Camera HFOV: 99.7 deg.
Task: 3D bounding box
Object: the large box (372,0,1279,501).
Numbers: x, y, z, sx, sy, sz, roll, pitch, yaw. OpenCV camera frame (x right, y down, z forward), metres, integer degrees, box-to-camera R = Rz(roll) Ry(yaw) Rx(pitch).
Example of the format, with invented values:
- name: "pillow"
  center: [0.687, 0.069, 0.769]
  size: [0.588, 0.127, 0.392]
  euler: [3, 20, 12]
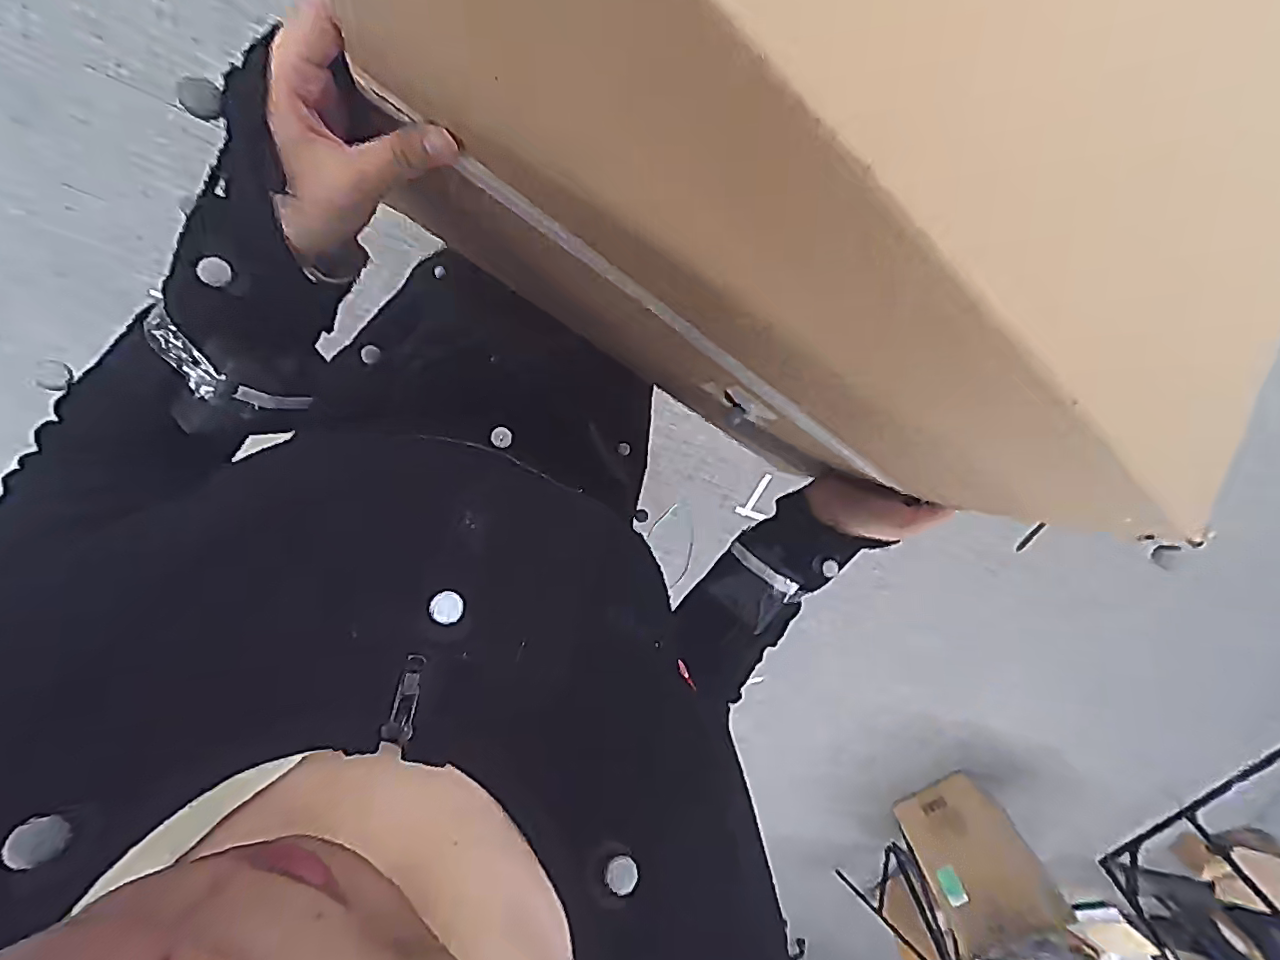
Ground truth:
- name: "large box"
  center: [0.126, -0.230, 0.287]
  size: [0.408, 0.320, 0.320]
  euler: [29, 87, -23]
